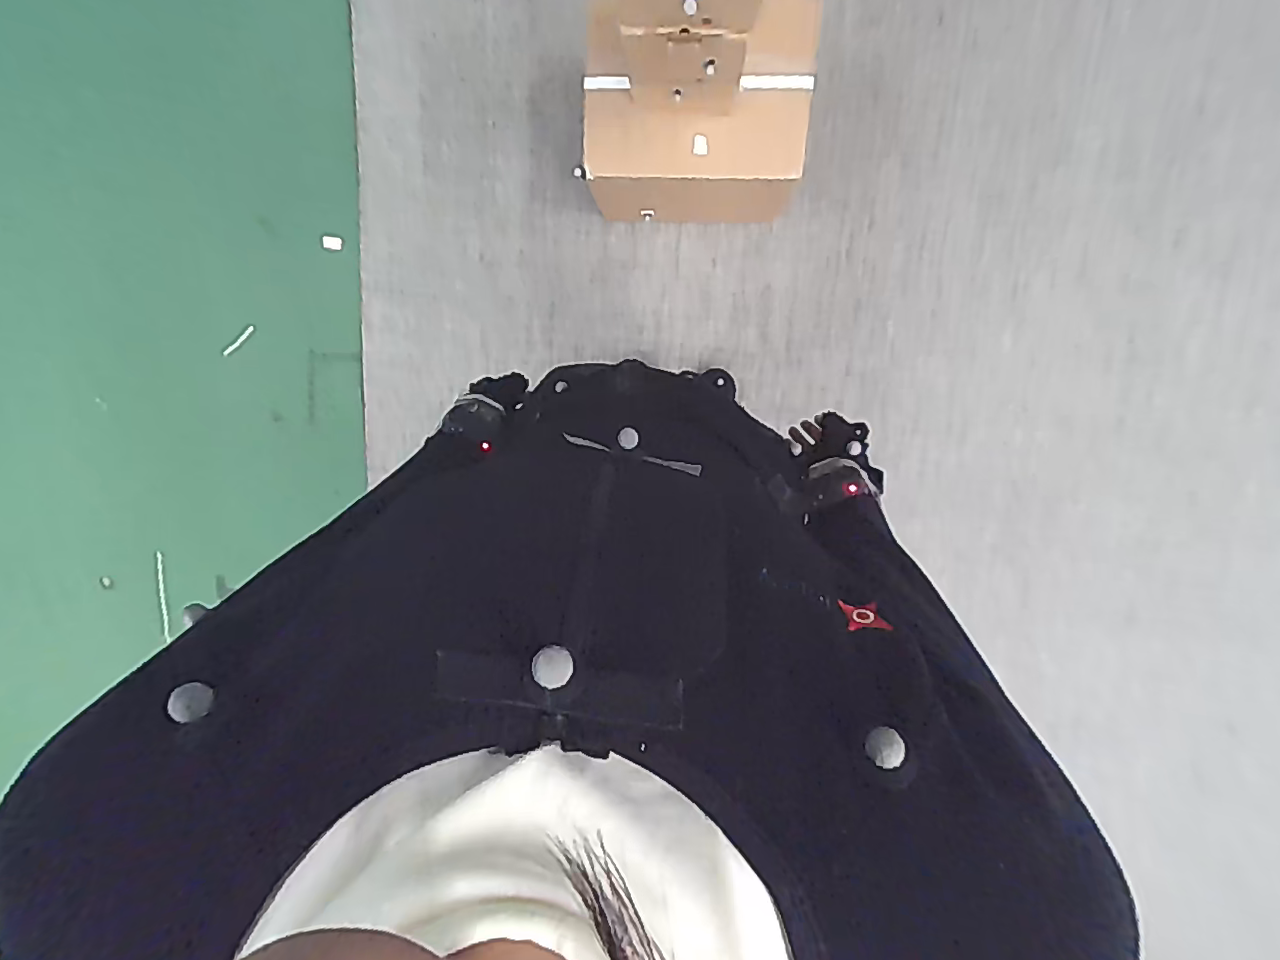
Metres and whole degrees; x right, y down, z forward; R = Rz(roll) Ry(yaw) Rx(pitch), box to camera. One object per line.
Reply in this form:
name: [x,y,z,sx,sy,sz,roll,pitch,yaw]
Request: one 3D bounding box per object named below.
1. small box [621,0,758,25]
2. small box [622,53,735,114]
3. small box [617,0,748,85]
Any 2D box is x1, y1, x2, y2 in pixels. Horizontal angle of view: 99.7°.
small box: [0.057,-0.616,0.566,0.168,0.176,0.179,4,109,3]
small box: [0.077,-0.719,0.871,0.179,0.176,0.168,10,107,2]
small box: [0.062,-0.659,0.724,0.168,0.176,0.179,3,107,3]
